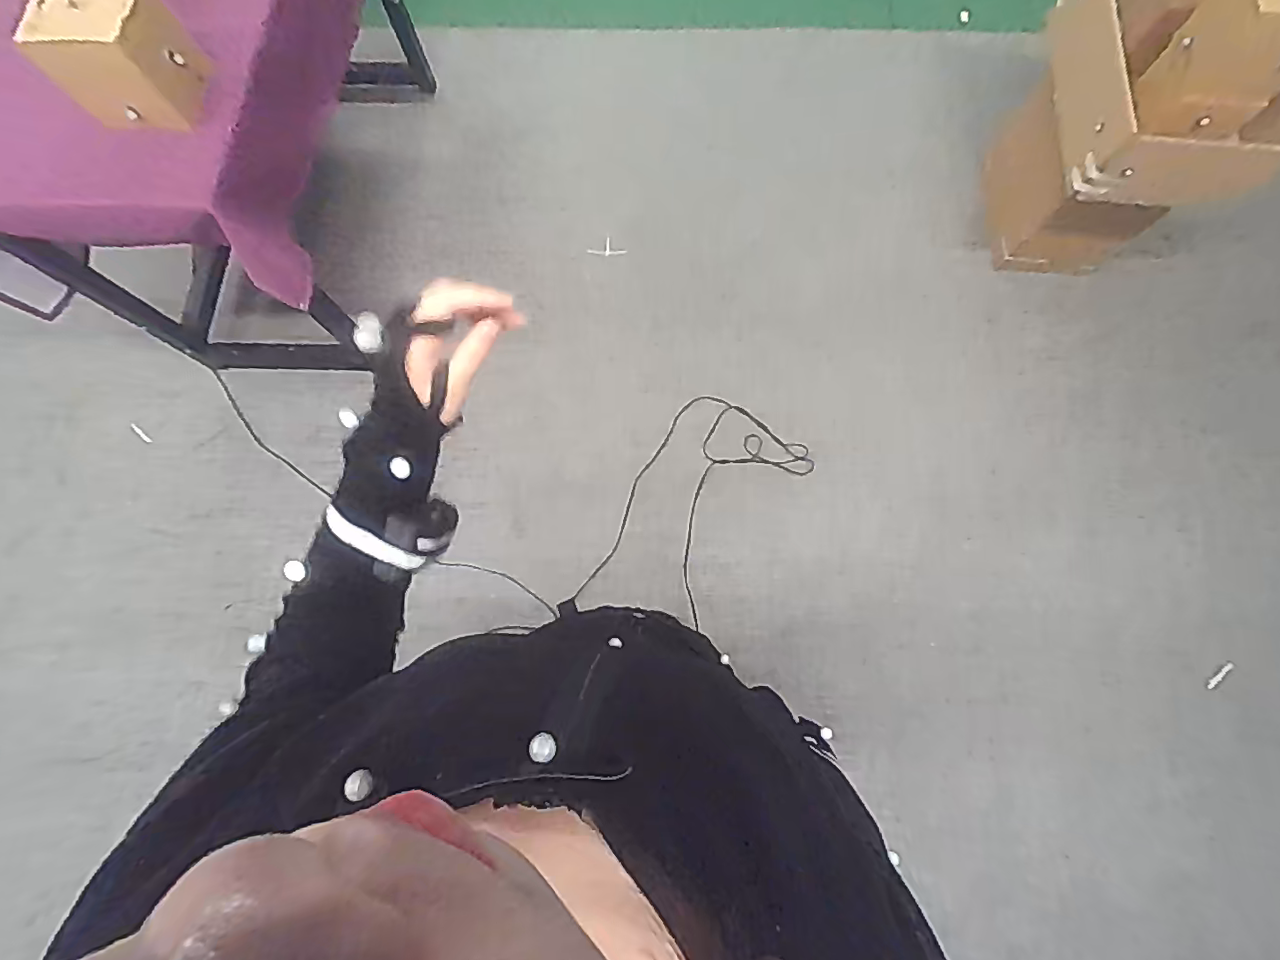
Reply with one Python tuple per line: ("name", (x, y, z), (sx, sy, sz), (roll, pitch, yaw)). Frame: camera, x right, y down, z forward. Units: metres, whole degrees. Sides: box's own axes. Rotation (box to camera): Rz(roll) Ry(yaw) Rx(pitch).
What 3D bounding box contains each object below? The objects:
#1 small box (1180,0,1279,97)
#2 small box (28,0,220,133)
("small box", (1.241, -0.899, 1.071), (0.179, 0.176, 0.168), (7, 75, 5))
("small box", (-0.930, -0.775, 0.995), (0.179, 0.176, 0.168), (2, 75, 2))
